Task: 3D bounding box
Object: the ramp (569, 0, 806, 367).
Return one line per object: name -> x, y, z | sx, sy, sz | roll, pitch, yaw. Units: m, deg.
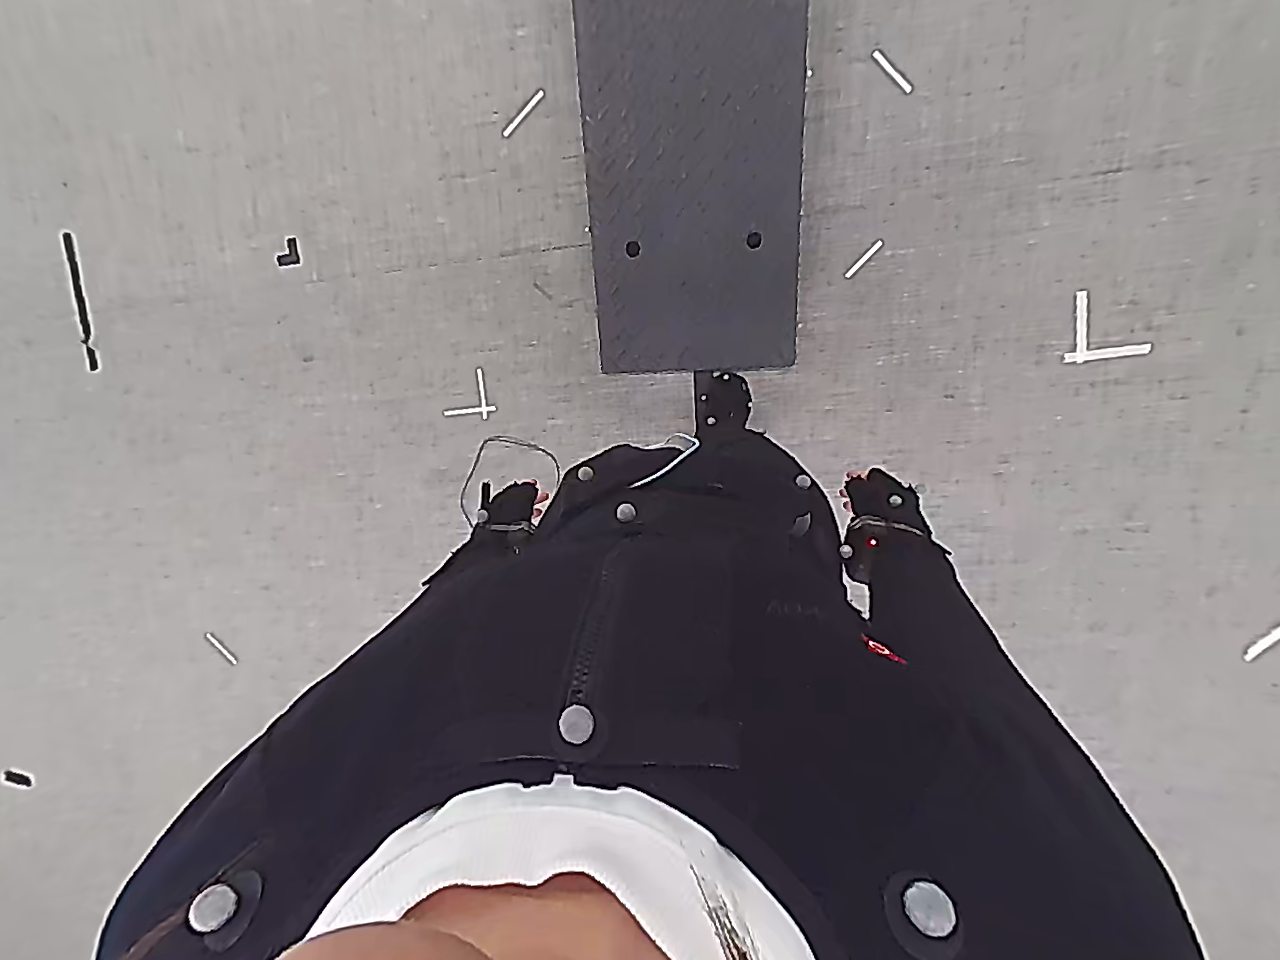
ramp -> 0.110, -0.764, 1.202 | 0.509, 0.206, 0.991 | -2, 101, 8
